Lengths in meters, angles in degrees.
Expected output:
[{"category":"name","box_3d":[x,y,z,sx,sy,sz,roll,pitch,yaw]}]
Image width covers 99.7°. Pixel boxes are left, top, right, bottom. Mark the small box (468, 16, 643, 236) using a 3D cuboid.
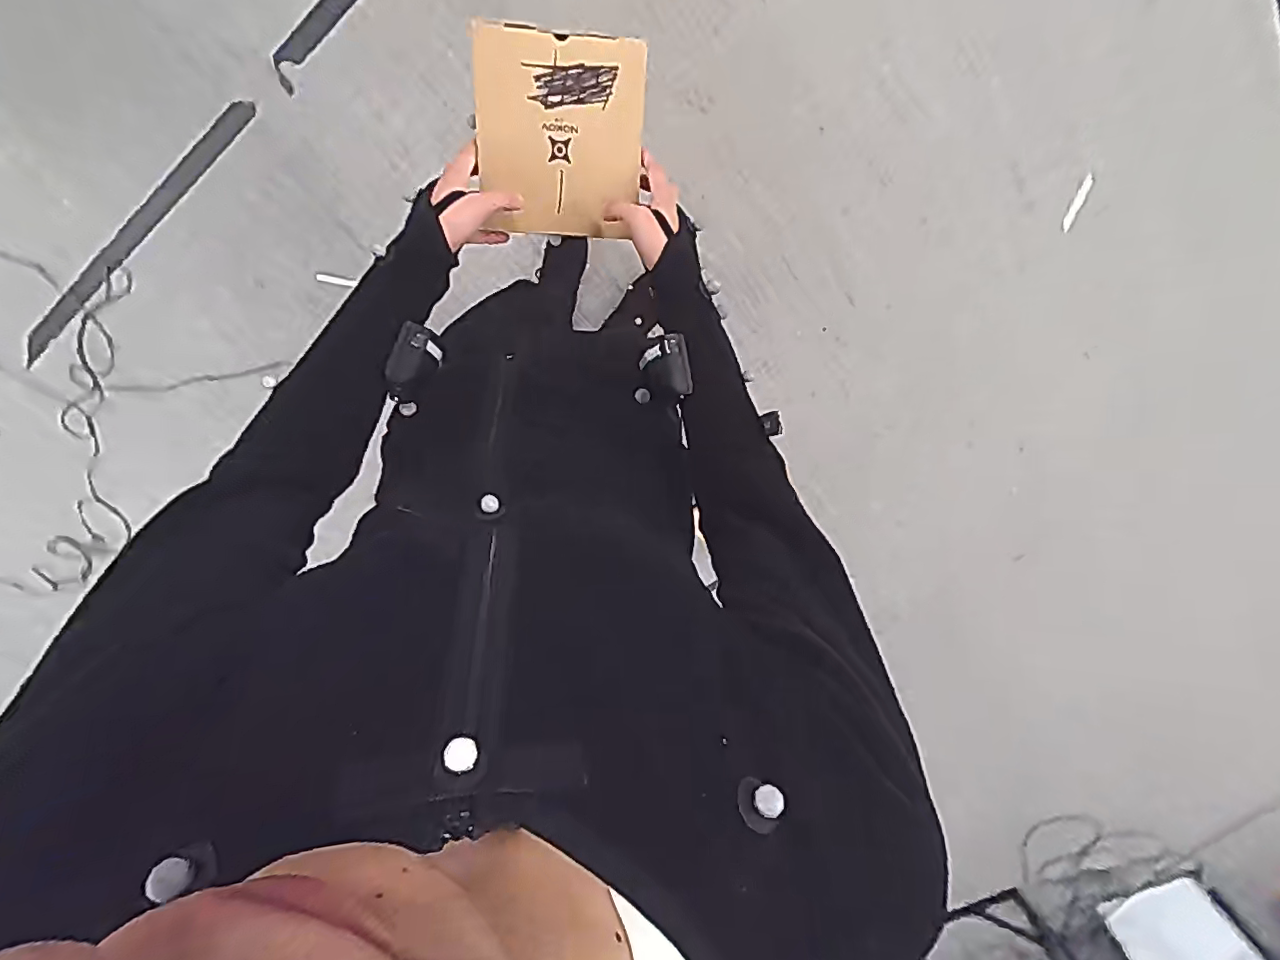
[{"category":"small box","box_3d":[-0.095,-0.378,0.609,0.168,0.176,0.179,-1,117,-9]}]
